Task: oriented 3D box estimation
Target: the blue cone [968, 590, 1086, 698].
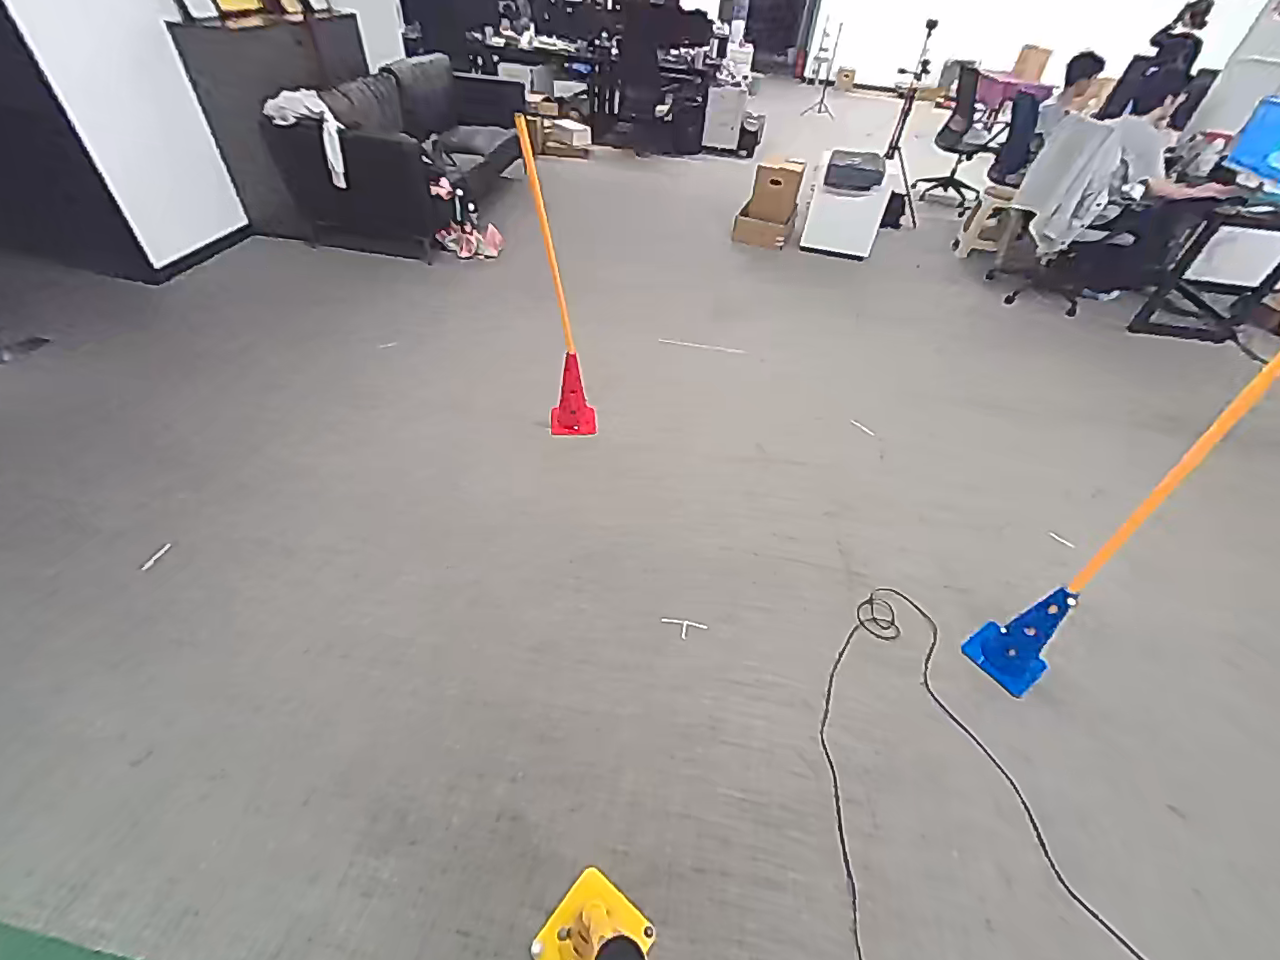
[{"bbox_3d":[1.167,0.447,1.594,0.193,0.380,0.192,-22,49,-30],"label":"blue cone"}]
